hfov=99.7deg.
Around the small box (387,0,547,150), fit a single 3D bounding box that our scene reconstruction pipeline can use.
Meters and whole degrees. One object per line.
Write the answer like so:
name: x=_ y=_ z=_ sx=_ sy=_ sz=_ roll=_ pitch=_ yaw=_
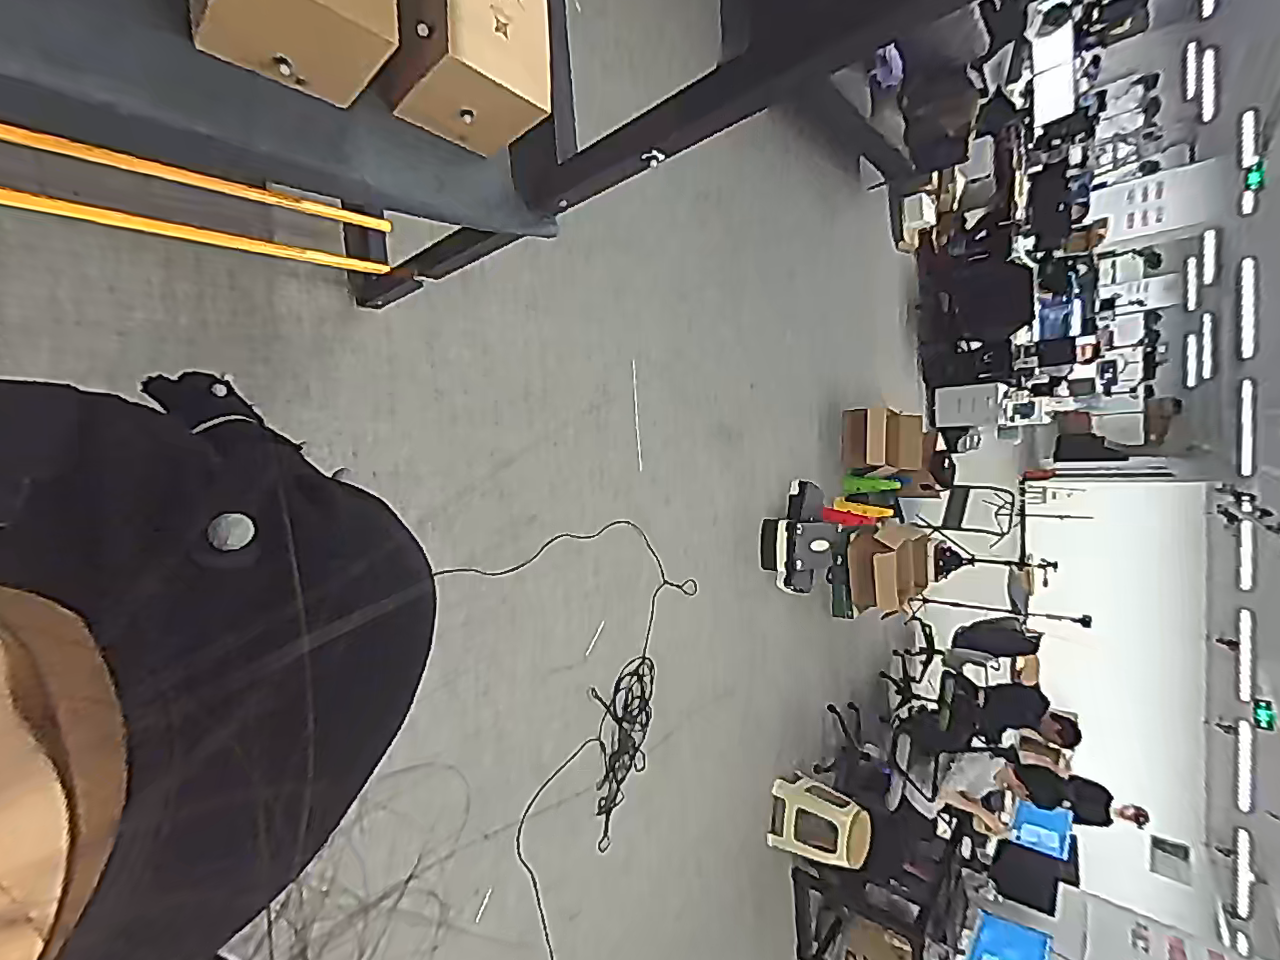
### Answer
small box: x=-0.253 y=-0.624 z=0.788 sx=0.168 sy=0.176 sz=0.179 roll=-2 pitch=91 yaw=-48
